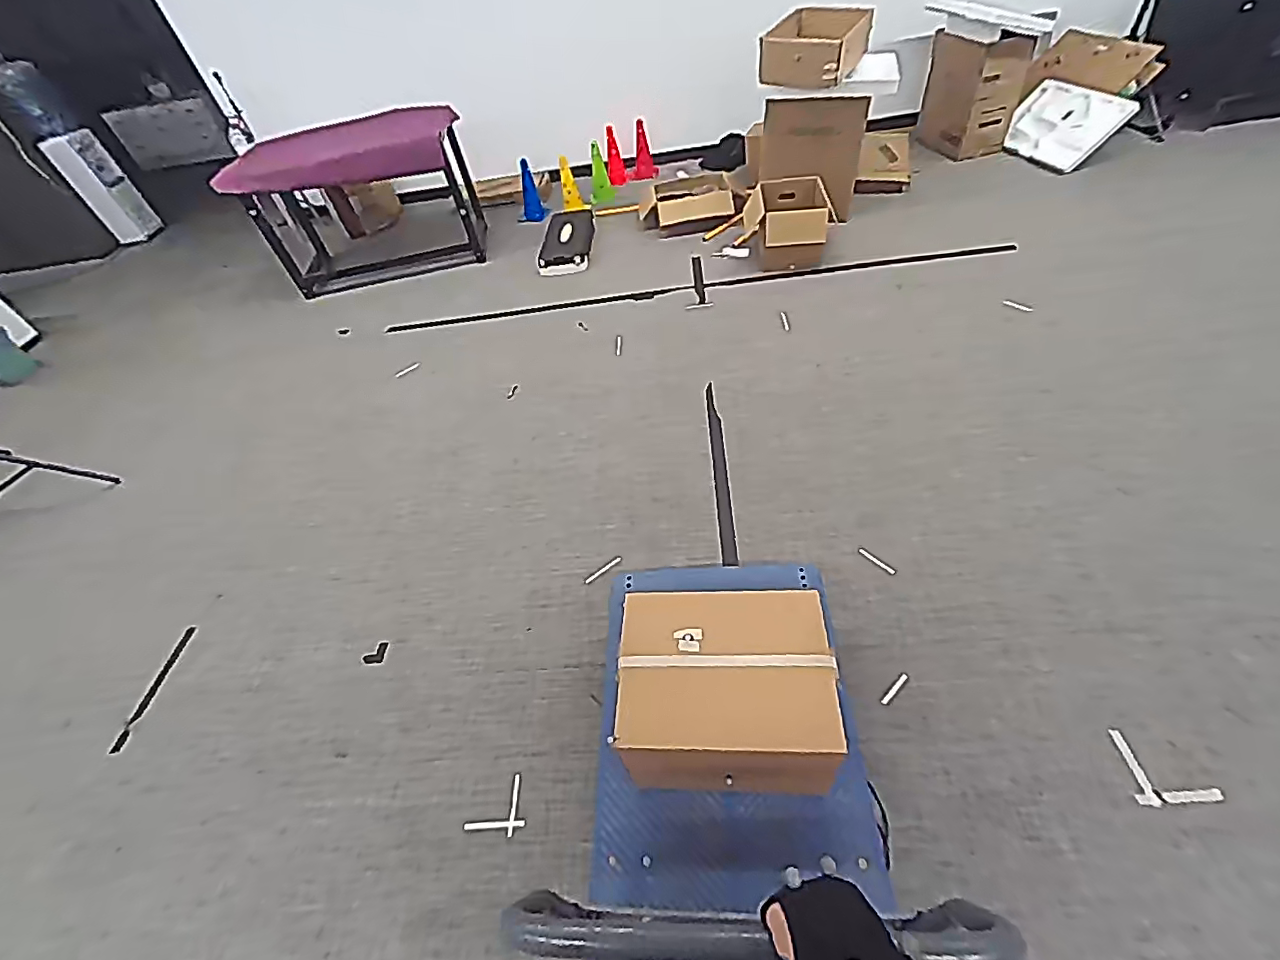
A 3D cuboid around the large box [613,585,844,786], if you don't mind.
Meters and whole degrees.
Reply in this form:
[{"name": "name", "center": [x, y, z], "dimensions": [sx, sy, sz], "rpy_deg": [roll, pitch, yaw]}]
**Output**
[{"name": "large box", "center": [0.178, 0.441, 1.139], "dimensions": [0.408, 0.320, 0.320], "rpy_deg": [-4, 47, 9]}]
